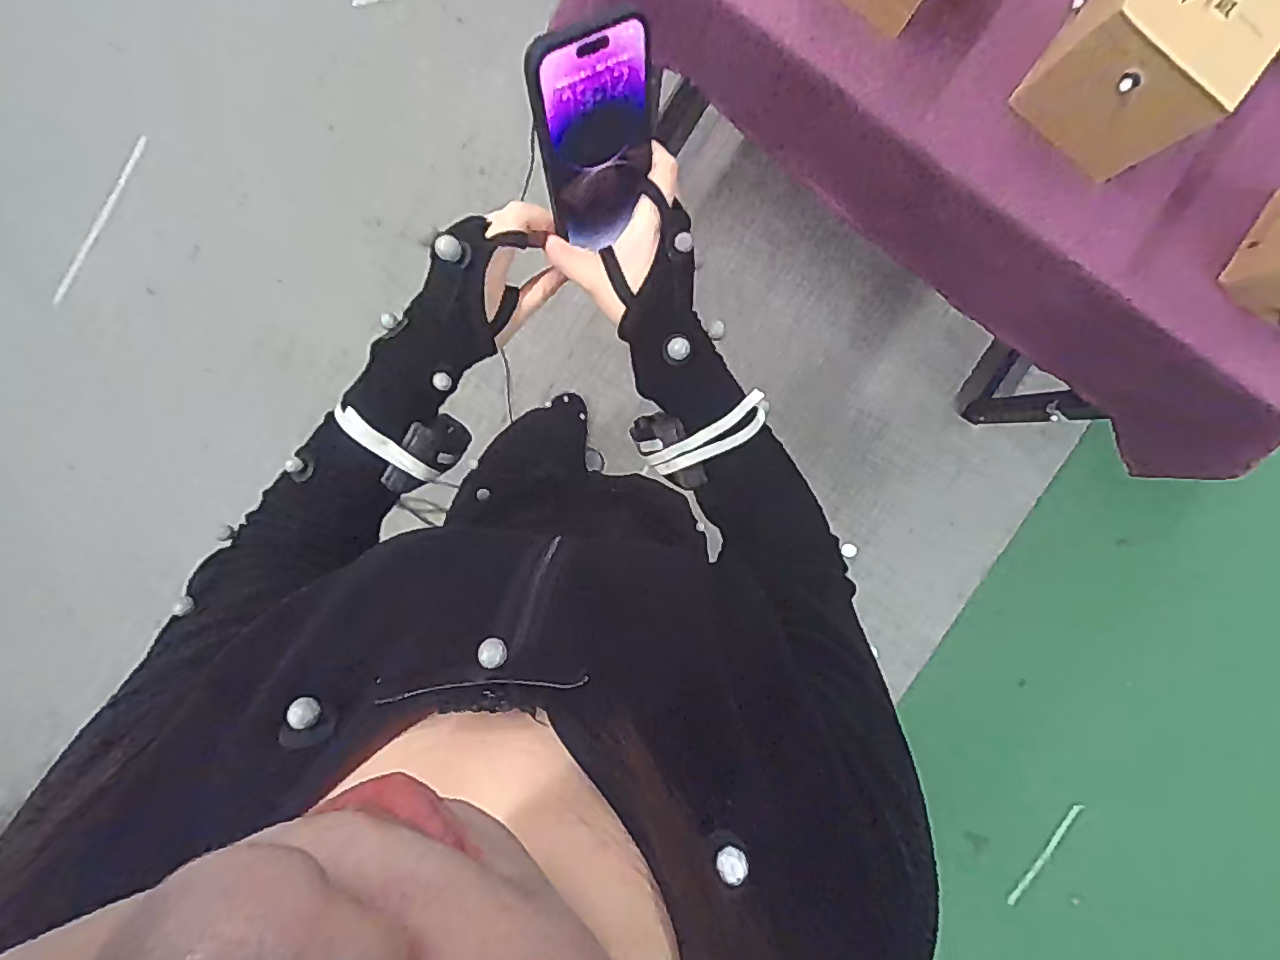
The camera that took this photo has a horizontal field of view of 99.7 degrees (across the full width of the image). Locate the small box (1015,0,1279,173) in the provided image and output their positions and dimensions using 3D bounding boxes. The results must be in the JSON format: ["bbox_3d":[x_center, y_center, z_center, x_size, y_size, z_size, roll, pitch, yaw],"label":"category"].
[{"bbox_3d":[0.624,-0.526,0.667,0.179,0.176,0.168,36,92,-6],"label":"small box"}]

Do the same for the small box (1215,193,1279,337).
[{"bbox_3d":[0.937,-0.295,0.700,0.179,0.176,0.168,32,92,-5],"label":"small box"}]
